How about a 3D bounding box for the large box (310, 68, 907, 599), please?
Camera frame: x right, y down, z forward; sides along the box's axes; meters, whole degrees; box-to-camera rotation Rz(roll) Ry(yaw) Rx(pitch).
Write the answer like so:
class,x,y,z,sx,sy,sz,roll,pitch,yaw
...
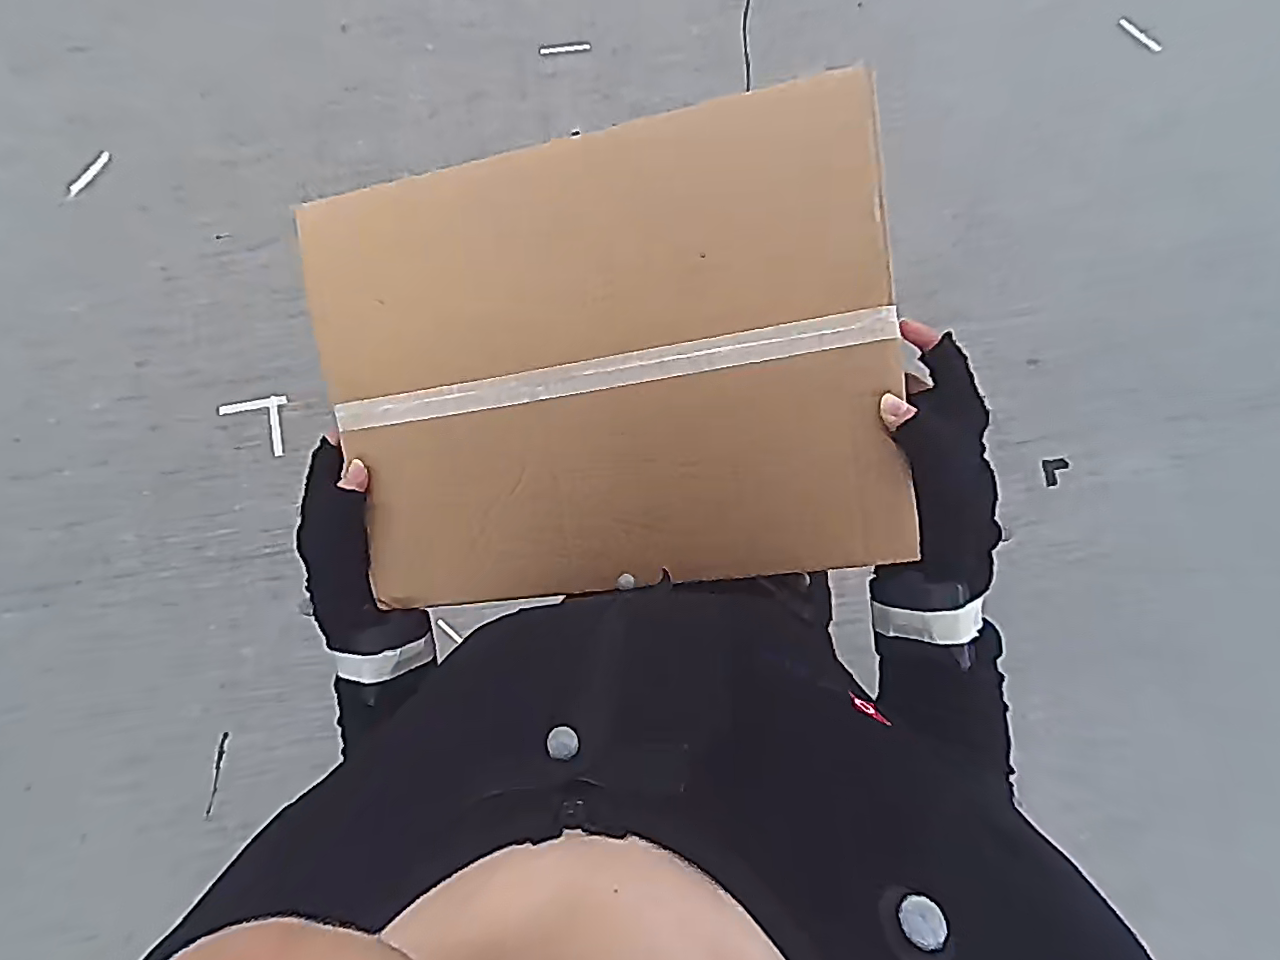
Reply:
class,x,y,z,sx,sy,sz,roll,pitch,yaw
large box,-0.008,-0.101,0.532,0.408,0.320,0.320,-7,96,11
